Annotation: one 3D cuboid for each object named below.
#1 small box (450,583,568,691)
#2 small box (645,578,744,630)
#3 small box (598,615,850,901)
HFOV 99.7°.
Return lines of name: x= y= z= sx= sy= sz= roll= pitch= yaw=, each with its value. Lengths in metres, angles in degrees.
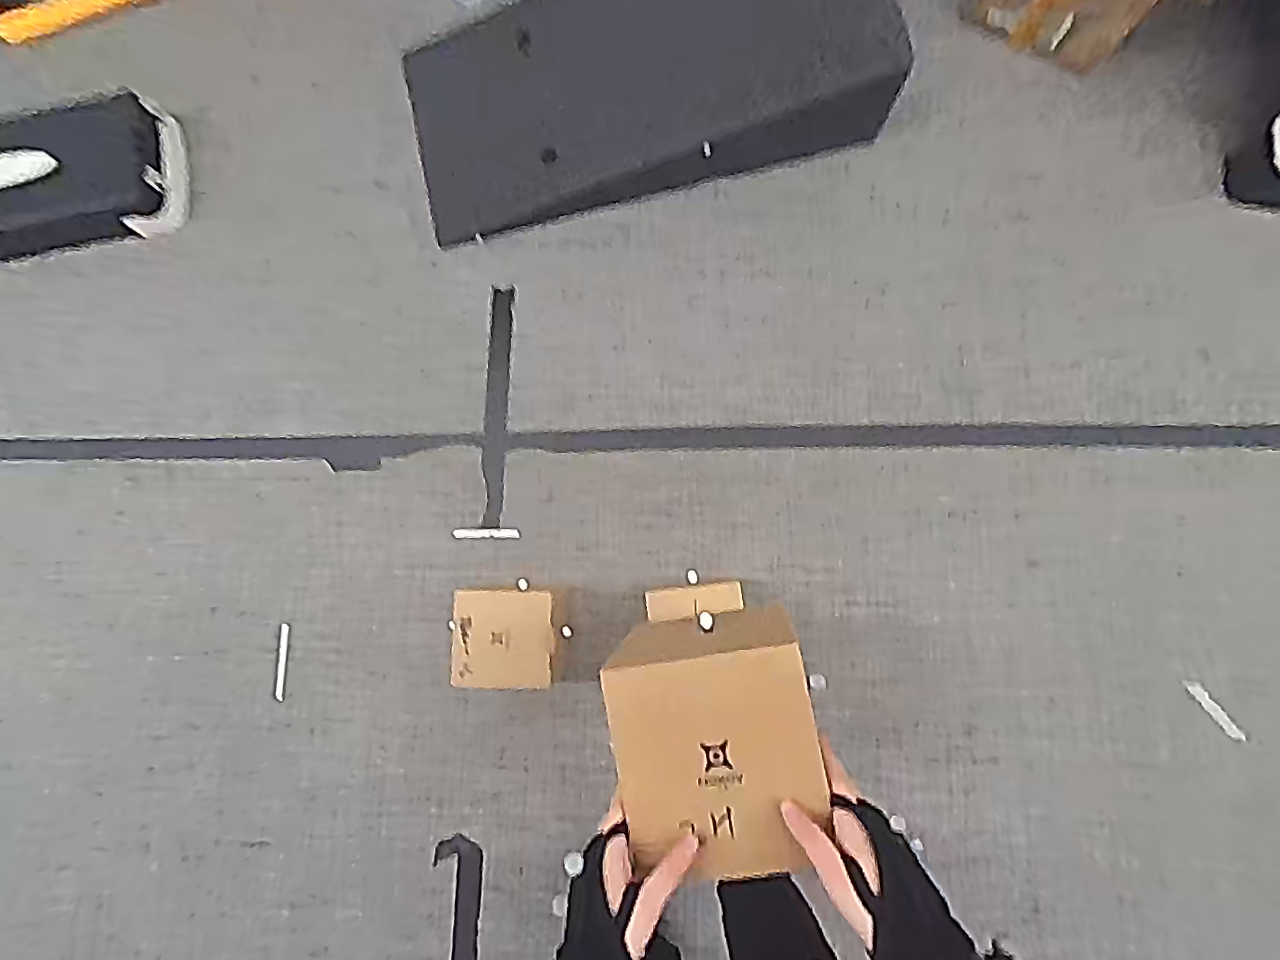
small box: x=-0.232 y=0.282 z=1.001 sx=0.179 sy=0.176 sz=0.168 roll=1 pitch=84 yaw=2
small box: x=0.103 y=0.278 z=0.985 sx=0.168 sy=0.176 sz=0.179 roll=-6 pitch=83 yaw=2
small box: x=0.073 y=0.227 z=0.488 sx=0.168 sy=0.176 sz=0.179 roll=-12 pitch=86 yaw=10
